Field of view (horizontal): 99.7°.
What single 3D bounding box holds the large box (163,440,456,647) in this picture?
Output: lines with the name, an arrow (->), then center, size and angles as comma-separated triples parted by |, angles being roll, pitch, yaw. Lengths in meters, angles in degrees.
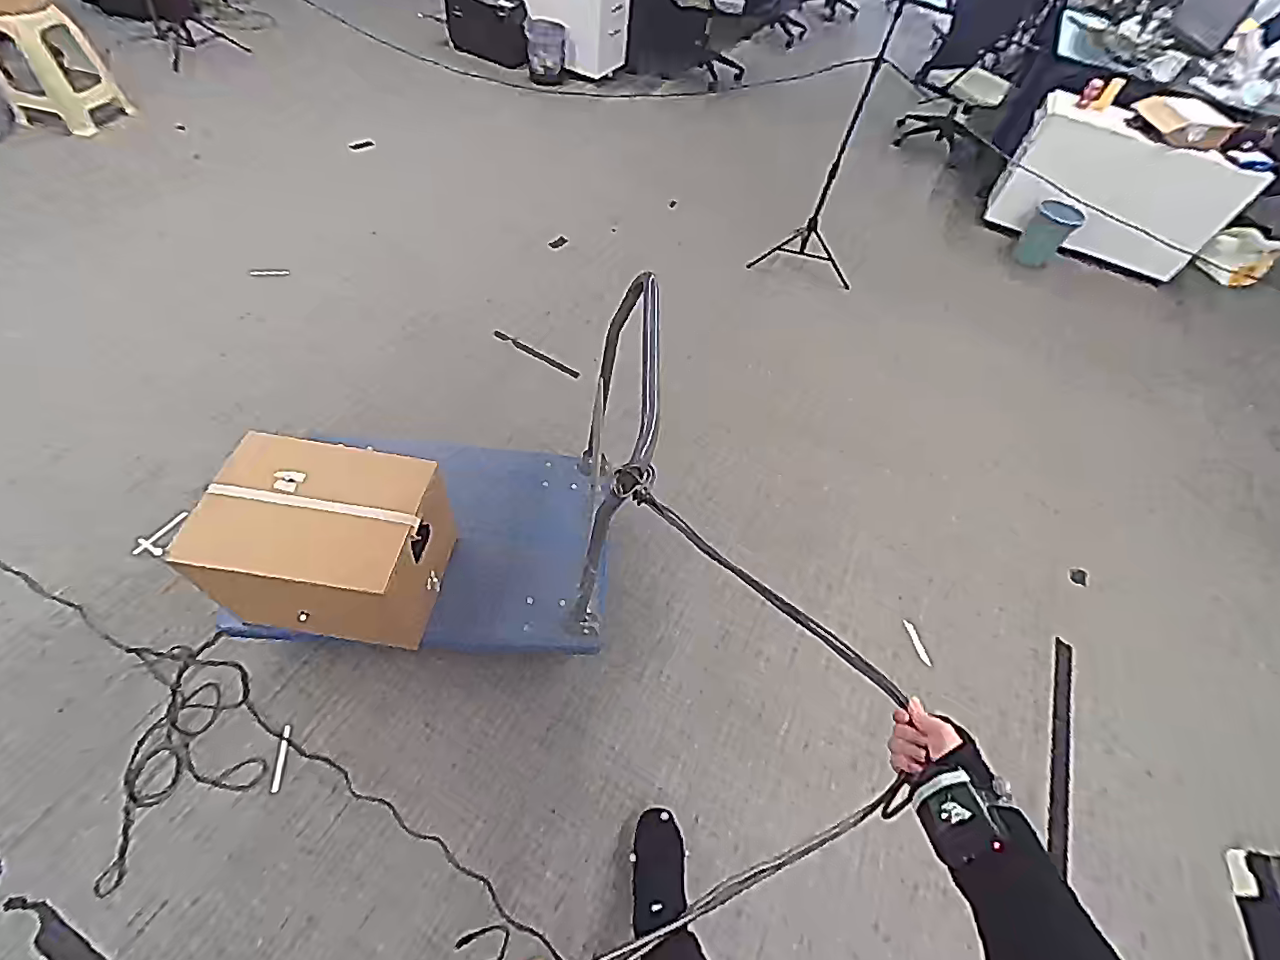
large box -> -0.661, 0.148, 1.180 | 0.408, 0.320, 0.320 | 9, 53, -2
